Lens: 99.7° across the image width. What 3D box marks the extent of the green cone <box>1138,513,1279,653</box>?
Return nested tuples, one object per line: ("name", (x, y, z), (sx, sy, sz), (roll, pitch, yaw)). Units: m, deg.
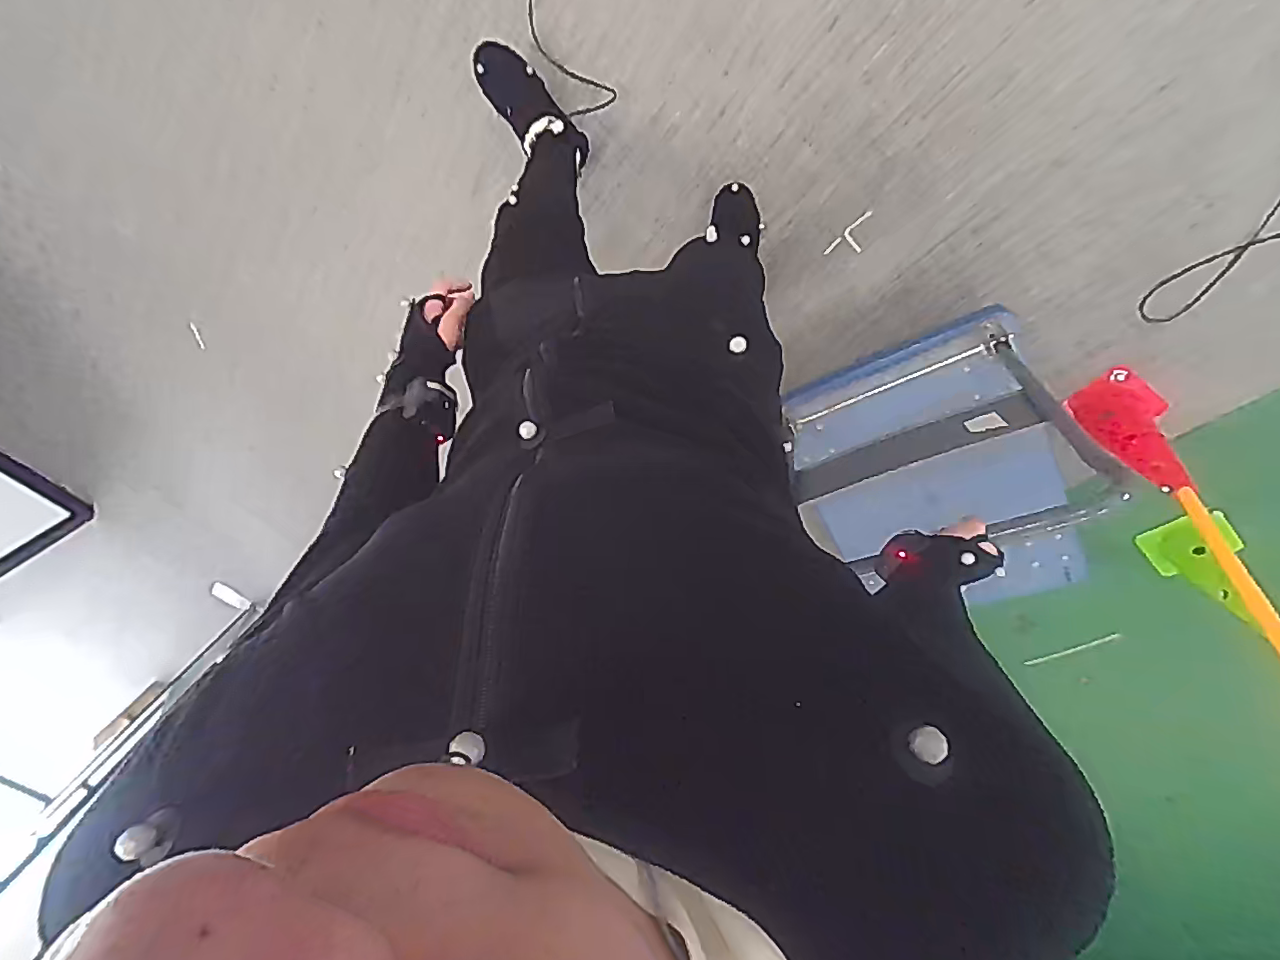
("green cone", (1.545, 0.293, 1.412), (0.202, 0.368, 0.200), (40, 124, -16))
